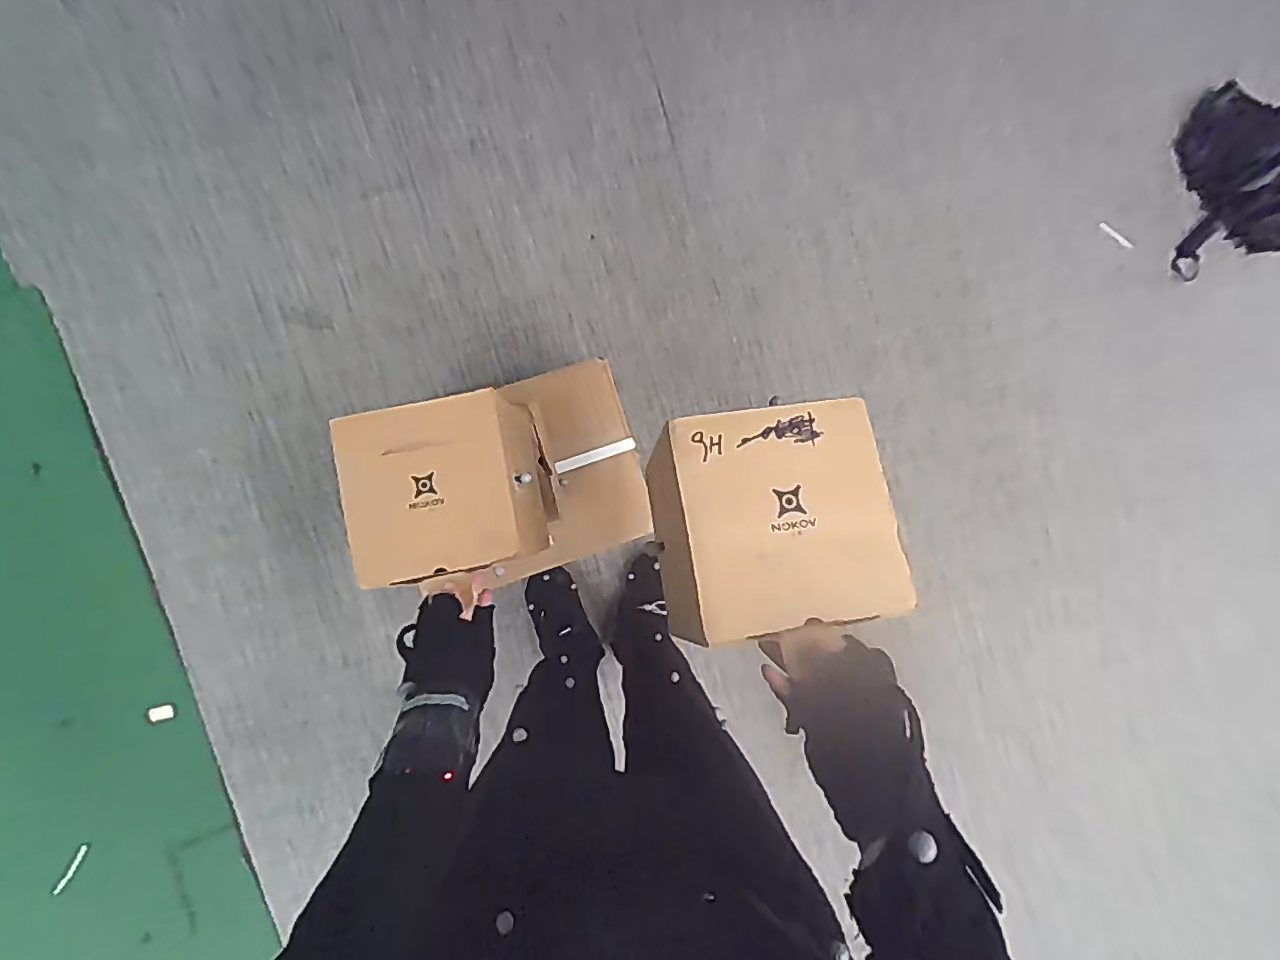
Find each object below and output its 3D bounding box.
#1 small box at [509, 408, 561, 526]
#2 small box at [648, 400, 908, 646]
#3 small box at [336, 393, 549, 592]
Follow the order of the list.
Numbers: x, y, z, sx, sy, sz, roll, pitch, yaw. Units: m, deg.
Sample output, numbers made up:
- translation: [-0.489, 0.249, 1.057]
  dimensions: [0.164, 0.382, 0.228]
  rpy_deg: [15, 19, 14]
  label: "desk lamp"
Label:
- translation: [-0.217, -0.012, 0.795]
  dimensions: [0.179, 0.176, 0.168]
  rpy_deg: [-12, 97, -5]
  label: "small box"
- translation: [0.107, 0.043, 0.499]
  dimensions: [0.168, 0.176, 0.179]
  rpy_deg: [-8, 79, -8]
  label: "small box"
- translation: [-0.209, 0.015, 0.618]
  dimensions: [0.168, 0.176, 0.179]
  rpy_deg: [-12, 86, -1]
  label: "small box"
